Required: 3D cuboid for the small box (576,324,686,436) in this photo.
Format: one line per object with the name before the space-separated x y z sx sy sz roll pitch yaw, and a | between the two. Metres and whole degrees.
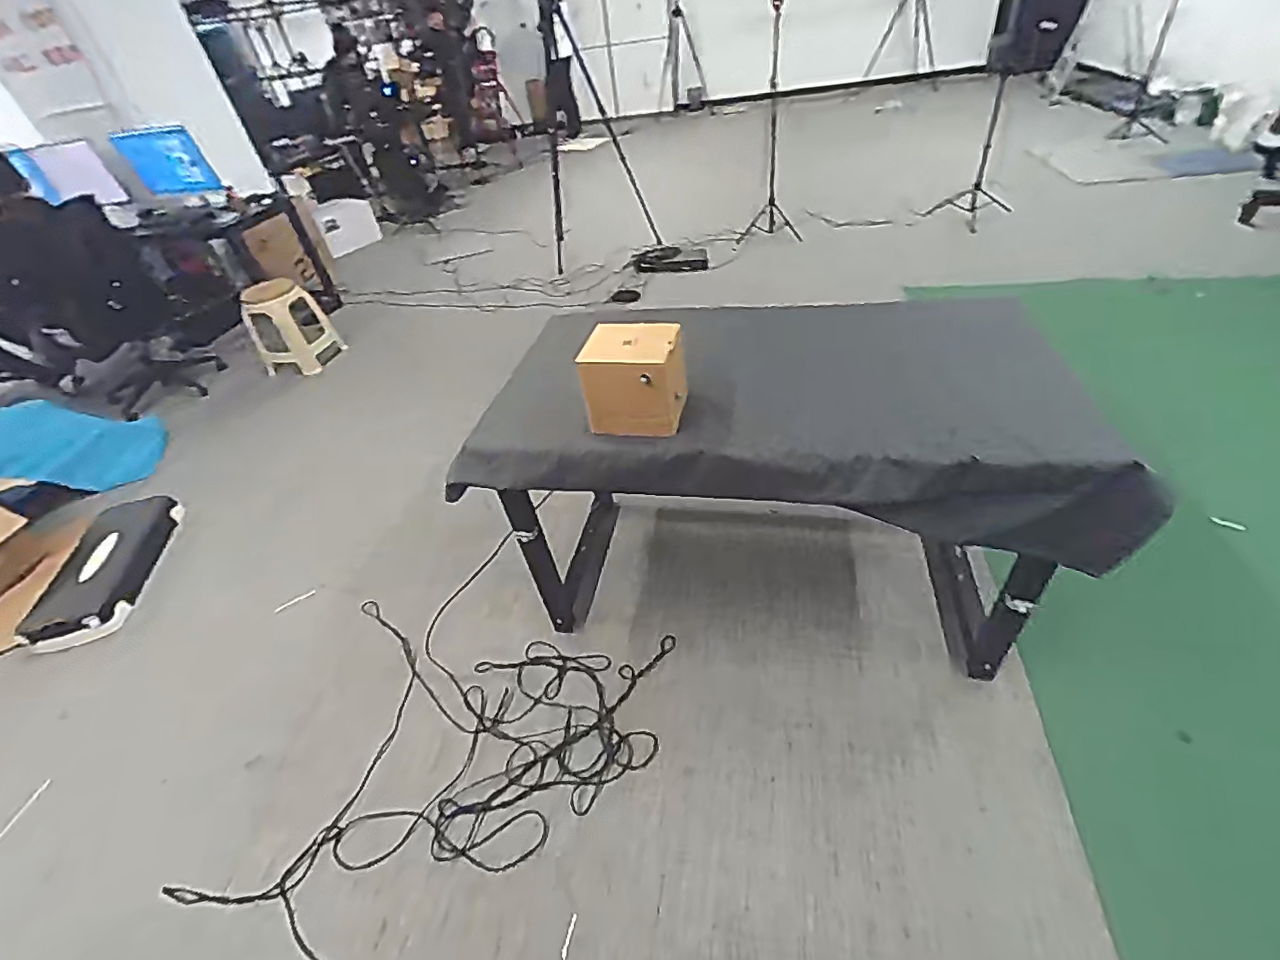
small box | -0.009 -0.202 1.101 0.179 0.176 0.168 4 41 15
